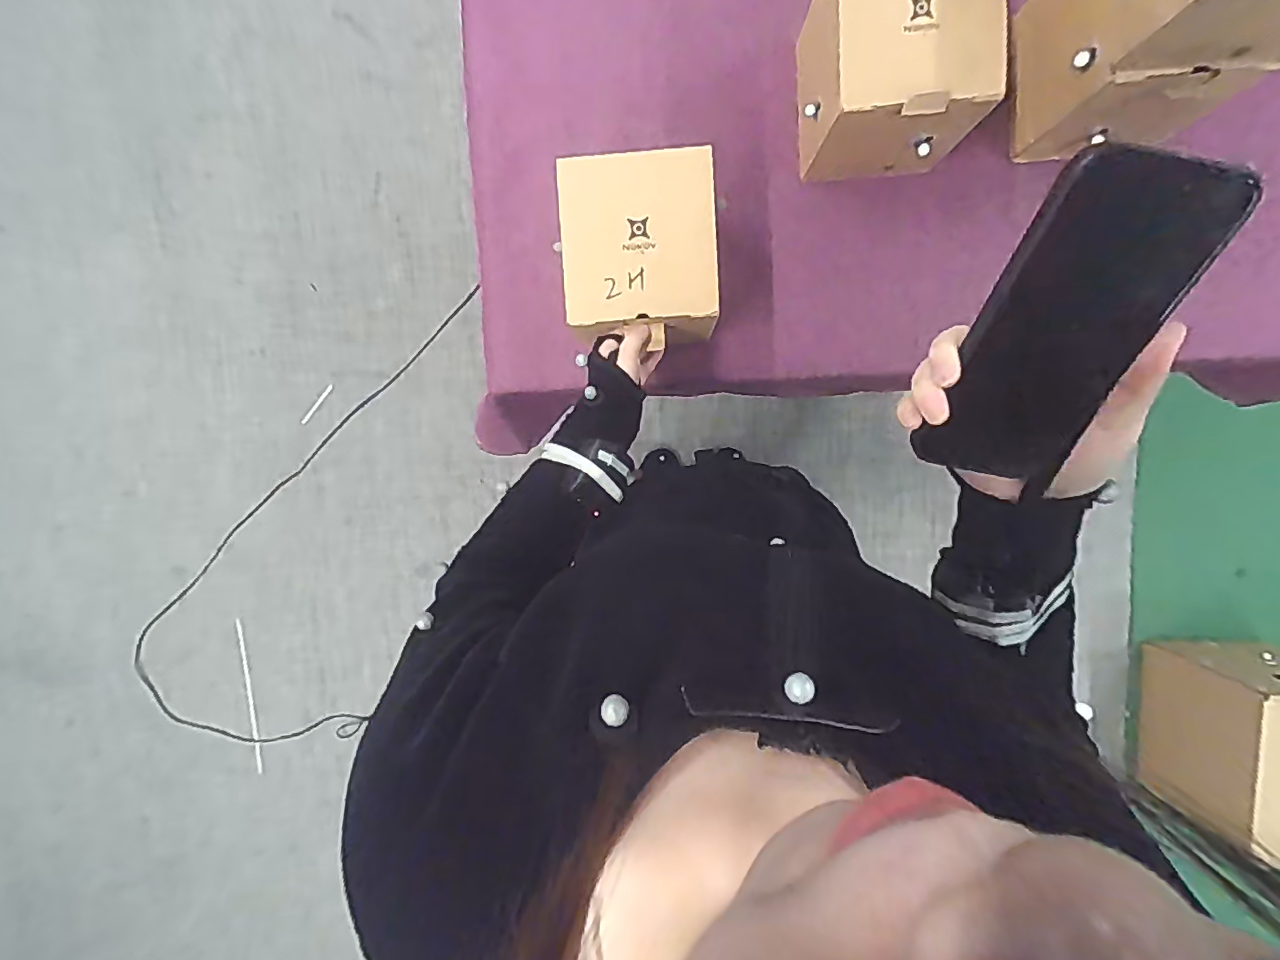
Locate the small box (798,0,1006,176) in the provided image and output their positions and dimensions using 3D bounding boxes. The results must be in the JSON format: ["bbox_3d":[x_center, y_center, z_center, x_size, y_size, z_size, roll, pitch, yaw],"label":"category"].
[{"bbox_3d":[0.282,-0.470,0.616,0.168,0.176,0.179,-3,95,3],"label":"small box"}]

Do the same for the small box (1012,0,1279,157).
[{"bbox_3d":[0.546,-0.493,0.598,0.168,0.176,0.179,-3,96,4],"label":"small box"}]

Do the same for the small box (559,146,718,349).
[{"bbox_3d":[0.002,-0.263,0.650,0.168,0.176,0.179,-3,95,4],"label":"small box"}]
